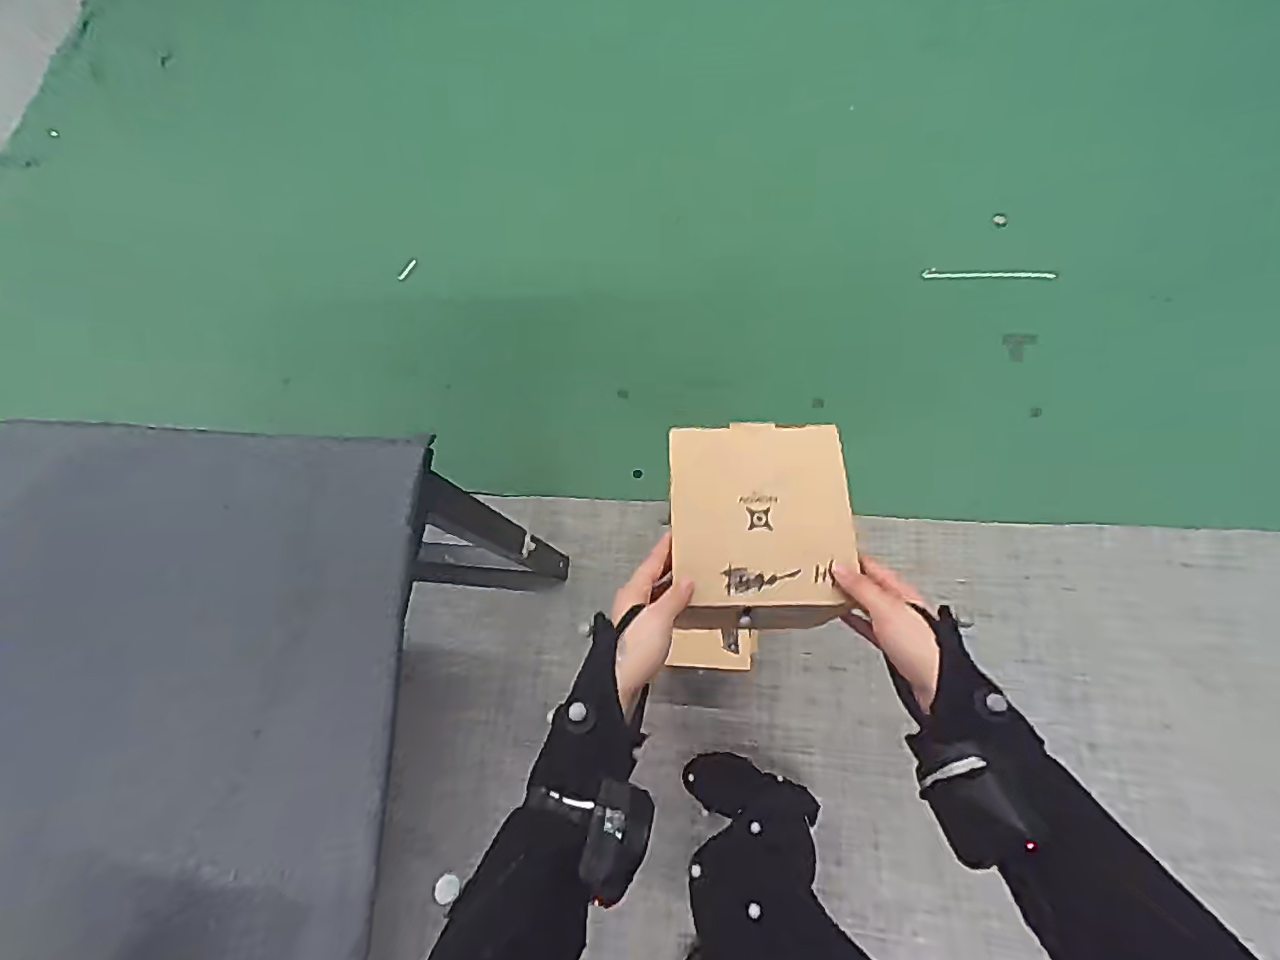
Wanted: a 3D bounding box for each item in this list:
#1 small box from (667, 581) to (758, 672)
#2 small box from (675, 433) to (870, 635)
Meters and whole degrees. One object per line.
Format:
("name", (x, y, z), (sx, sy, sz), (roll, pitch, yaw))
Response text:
("small box", (0.154, 0.308, 1.140), (0.179, 0.176, 0.168), (1, 73, 9))
("small box", (0.122, 0.064, 0.576), (0.168, 0.176, 0.179), (-1, 69, 3))
